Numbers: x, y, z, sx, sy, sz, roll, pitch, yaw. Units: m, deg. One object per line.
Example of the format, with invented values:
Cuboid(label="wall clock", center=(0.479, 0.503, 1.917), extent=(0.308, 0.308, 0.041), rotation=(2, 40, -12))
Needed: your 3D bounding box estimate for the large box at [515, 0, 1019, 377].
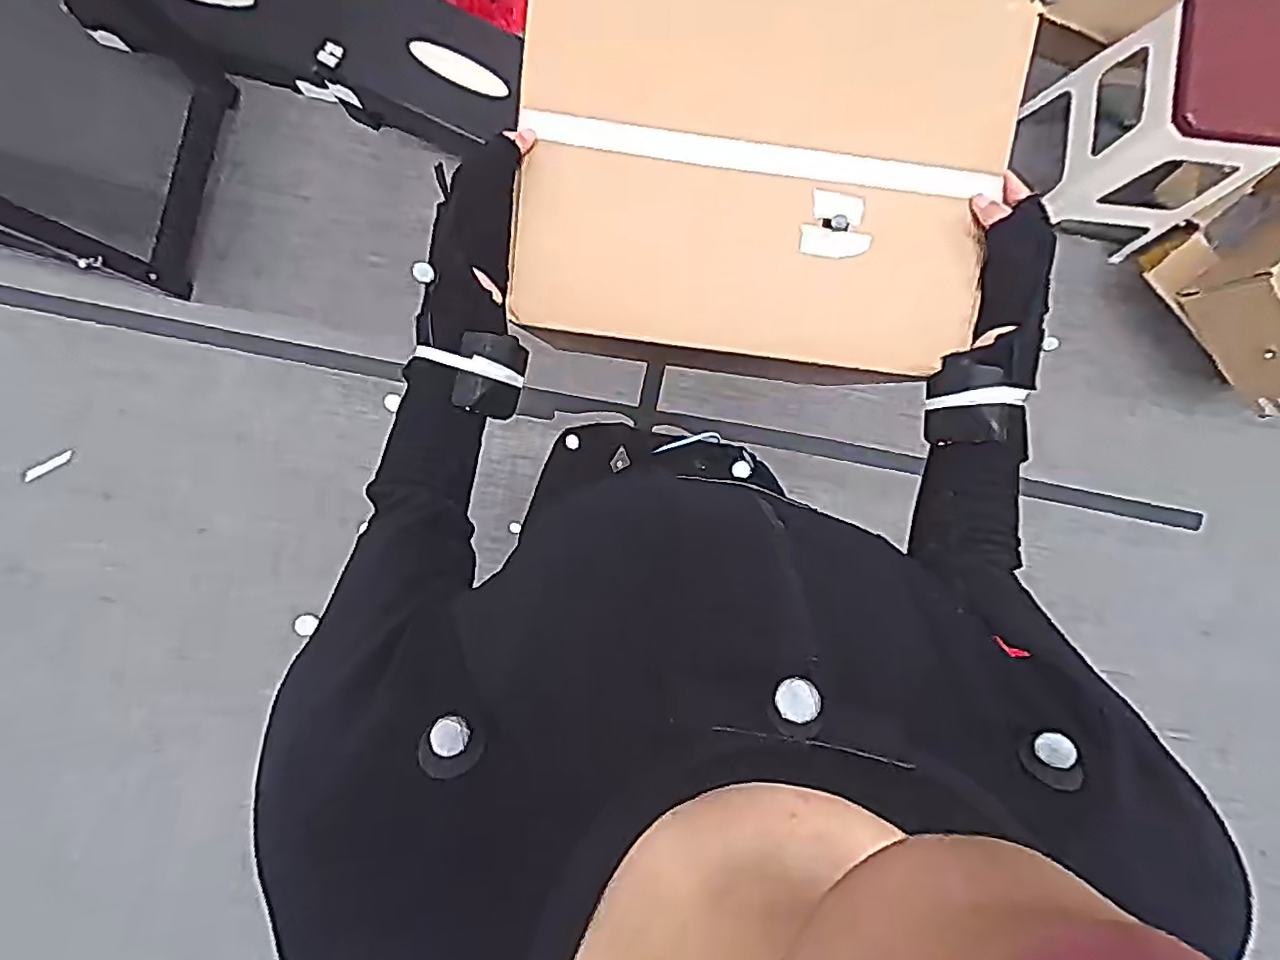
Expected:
Cuboid(label="large box", center=(0.095, -0.296, 0.607), extent=(0.408, 0.320, 0.320), rotation=(7, 100, -3))
